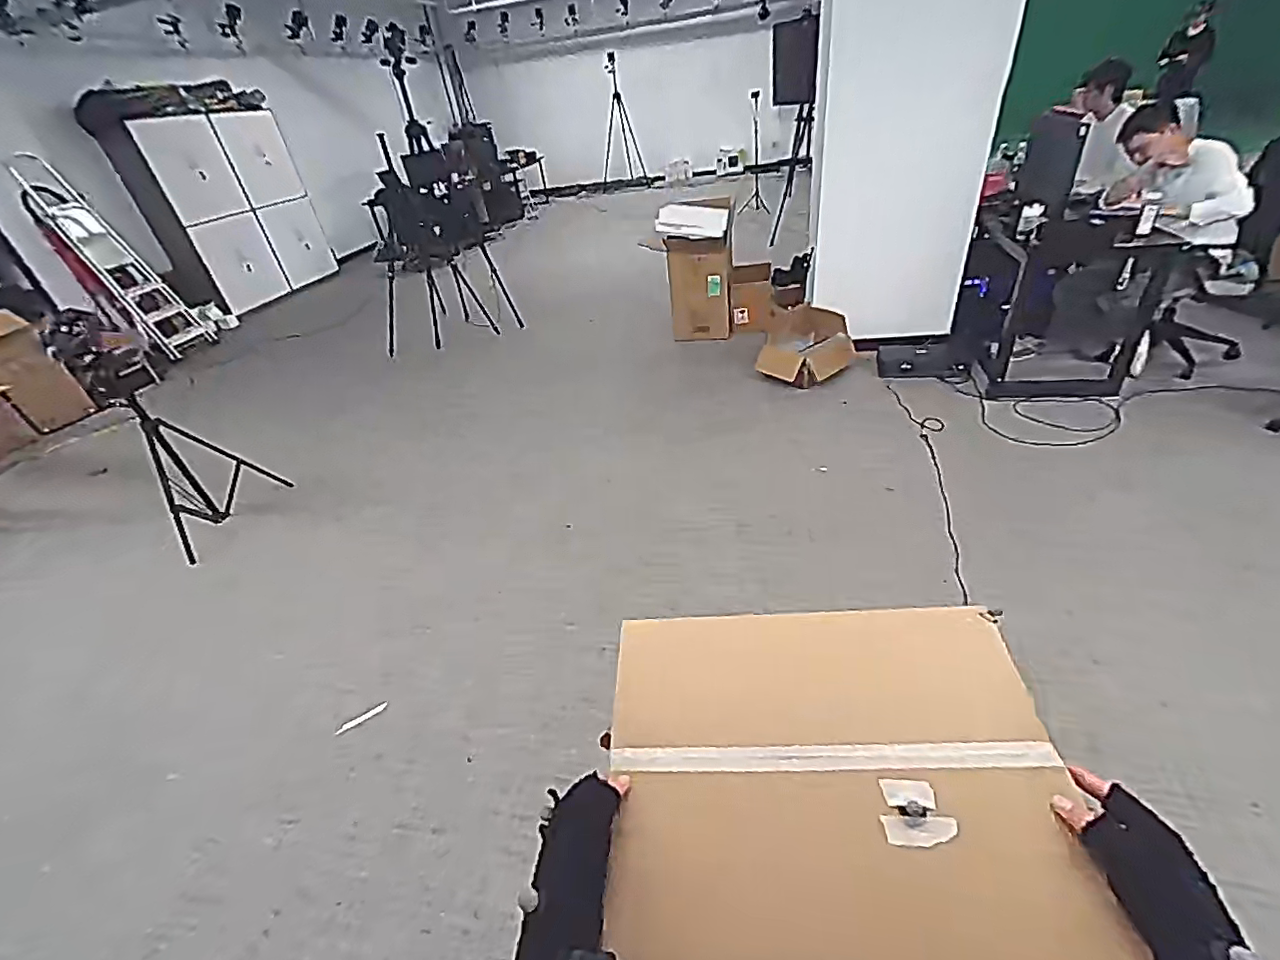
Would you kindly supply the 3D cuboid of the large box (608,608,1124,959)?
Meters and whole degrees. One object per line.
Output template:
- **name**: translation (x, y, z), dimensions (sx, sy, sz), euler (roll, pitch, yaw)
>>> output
- **large box**: translation (0.191, 0.376, 0.631), dimensions (0.408, 0.320, 0.320), euler (-5, 44, 7)
